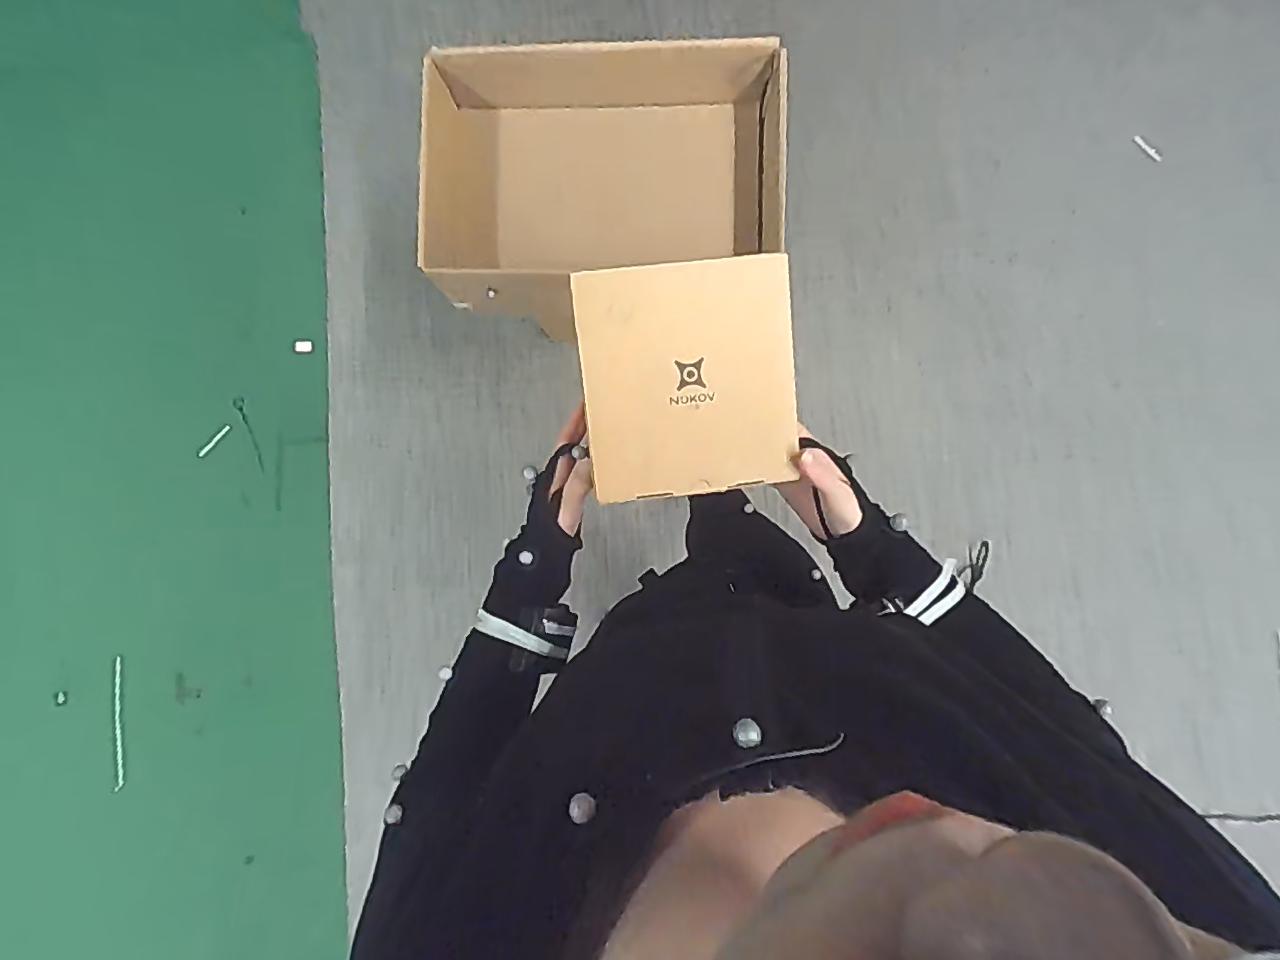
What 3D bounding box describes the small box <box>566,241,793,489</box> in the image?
[{"bbox_3d":[0.026,-0.098,0.493,0.168,0.176,0.179,-8,99,-3],"label":"small box"}]
